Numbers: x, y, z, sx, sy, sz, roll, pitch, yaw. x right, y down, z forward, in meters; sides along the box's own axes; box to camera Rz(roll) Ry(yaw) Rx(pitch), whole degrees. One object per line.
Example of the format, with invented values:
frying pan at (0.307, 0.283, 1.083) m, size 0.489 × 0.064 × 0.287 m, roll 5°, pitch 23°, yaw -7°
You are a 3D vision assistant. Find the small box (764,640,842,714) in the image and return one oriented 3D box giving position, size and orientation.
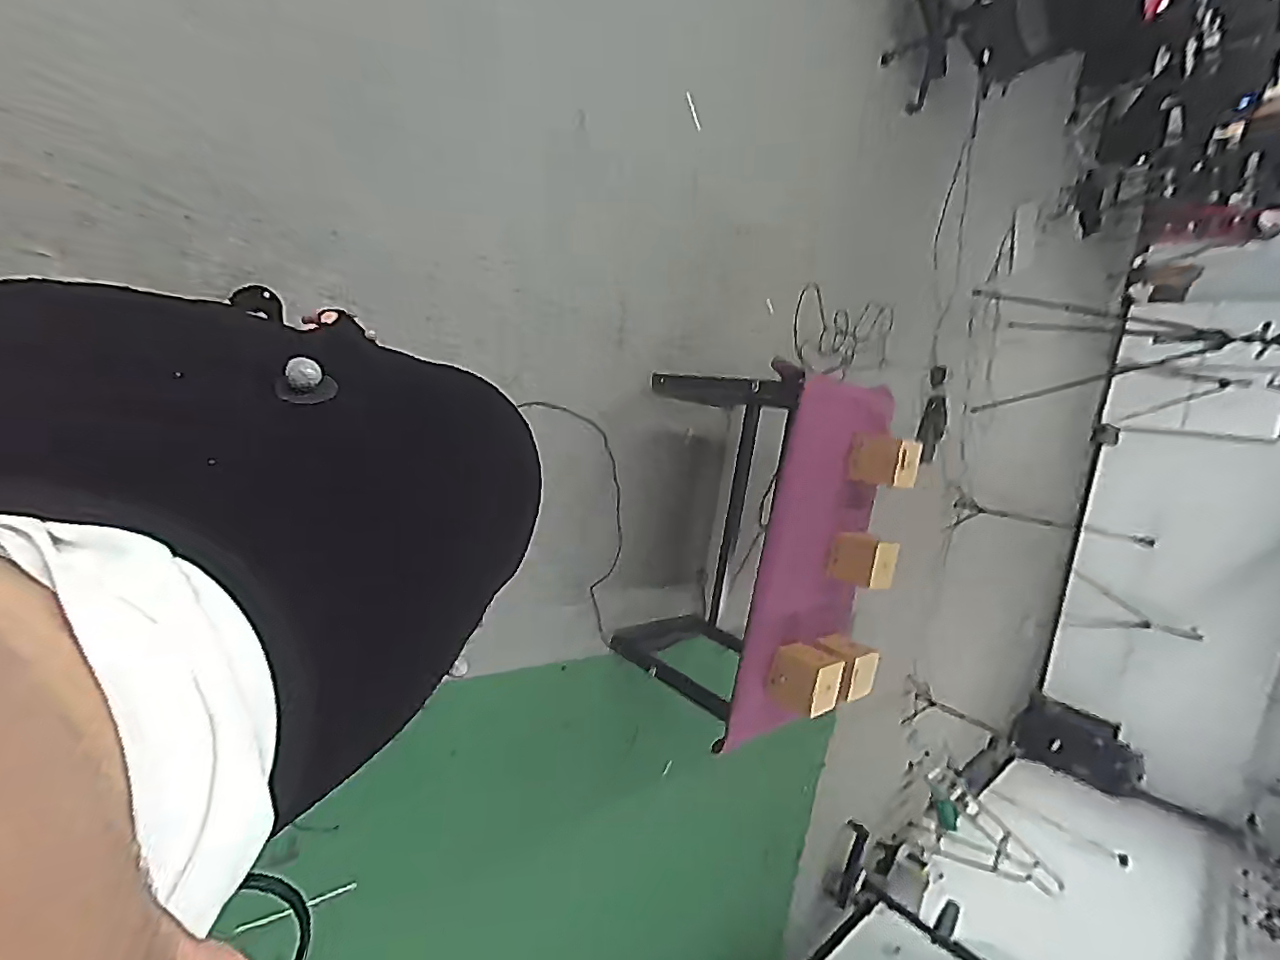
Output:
small box at (0.543, 0.648, 1.802) m, size 0.179 × 0.176 × 0.168 m, roll 7°, pitch 95°, yaw -44°

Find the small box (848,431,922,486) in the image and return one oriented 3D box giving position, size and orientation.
small box at (0.858, -0.077, 1.904) m, size 0.179 × 0.176 × 0.168 m, roll 4°, pitch 98°, yaw -43°

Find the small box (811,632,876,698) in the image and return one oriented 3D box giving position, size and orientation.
small box at (0.733, 0.670, 1.981) m, size 0.179 × 0.176 × 0.168 m, roll 5°, pitch 97°, yaw -42°

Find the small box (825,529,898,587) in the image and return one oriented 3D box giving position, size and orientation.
small box at (0.792, 0.274, 1.937) m, size 0.179 × 0.176 × 0.168 m, roll 6°, pitch 96°, yaw -42°
